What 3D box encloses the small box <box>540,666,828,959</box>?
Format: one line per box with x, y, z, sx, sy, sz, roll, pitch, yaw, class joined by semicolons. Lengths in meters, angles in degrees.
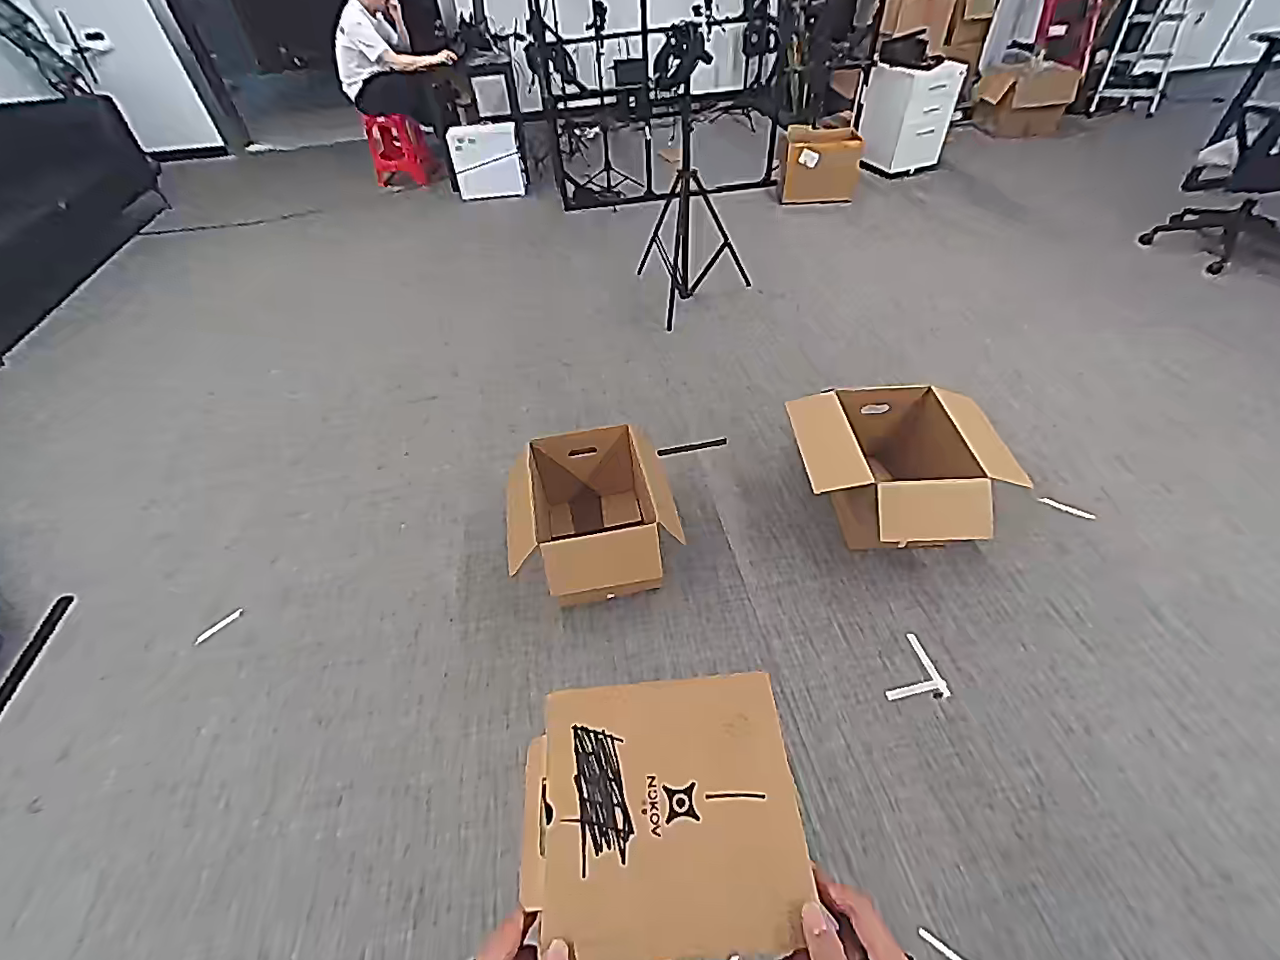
0.026;0.265;0.430;0.179;0.176;0.168;-6;52;-1;small box
